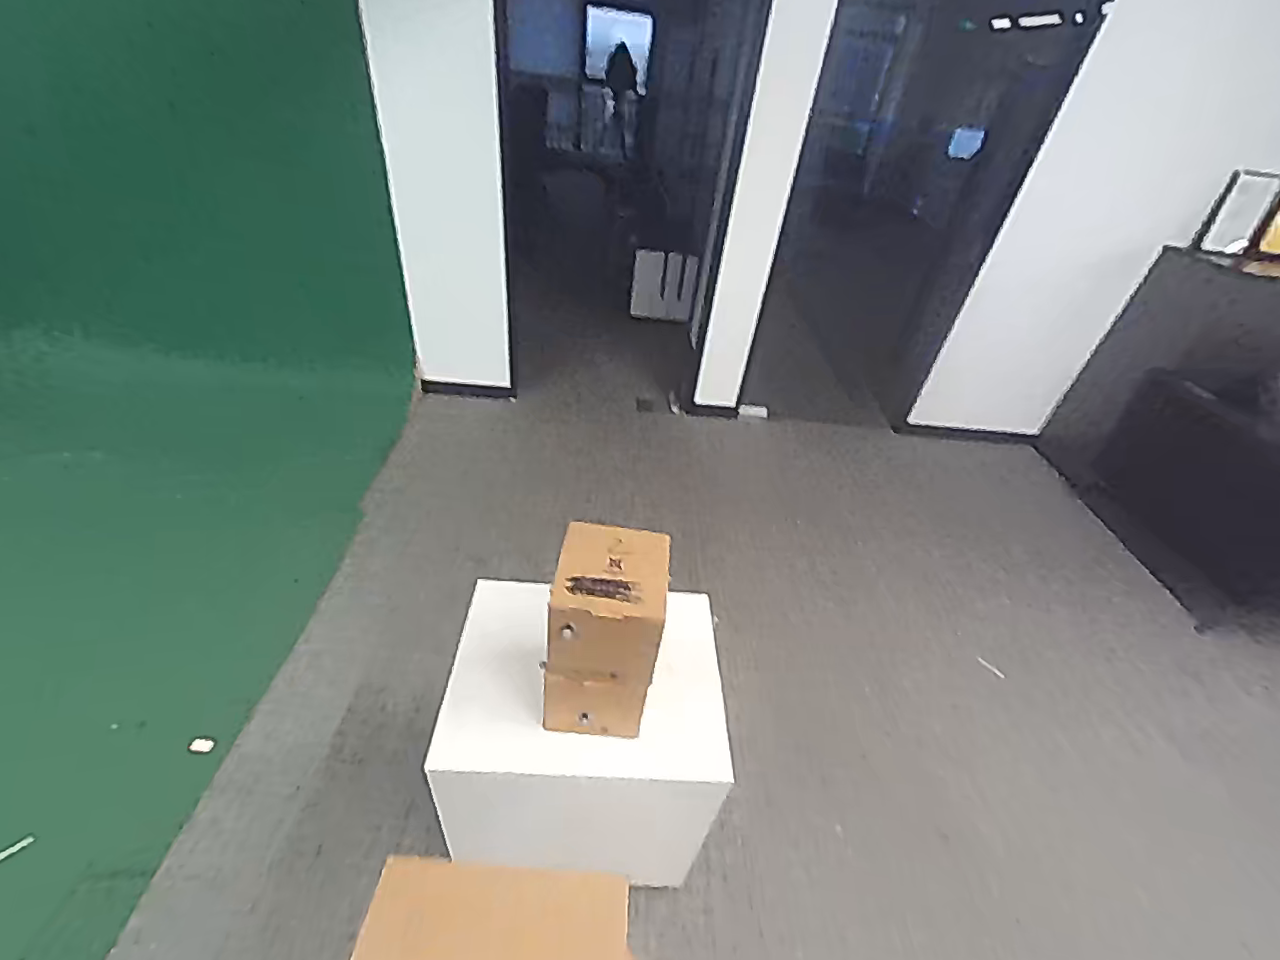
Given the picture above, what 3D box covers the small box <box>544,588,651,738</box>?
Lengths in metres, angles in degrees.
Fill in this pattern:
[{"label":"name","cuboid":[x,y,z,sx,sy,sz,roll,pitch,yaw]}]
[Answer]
[{"label":"small box","cuboid":[-0.074,0.317,0.943,0.168,0.176,0.179,6,37,-2]}]
